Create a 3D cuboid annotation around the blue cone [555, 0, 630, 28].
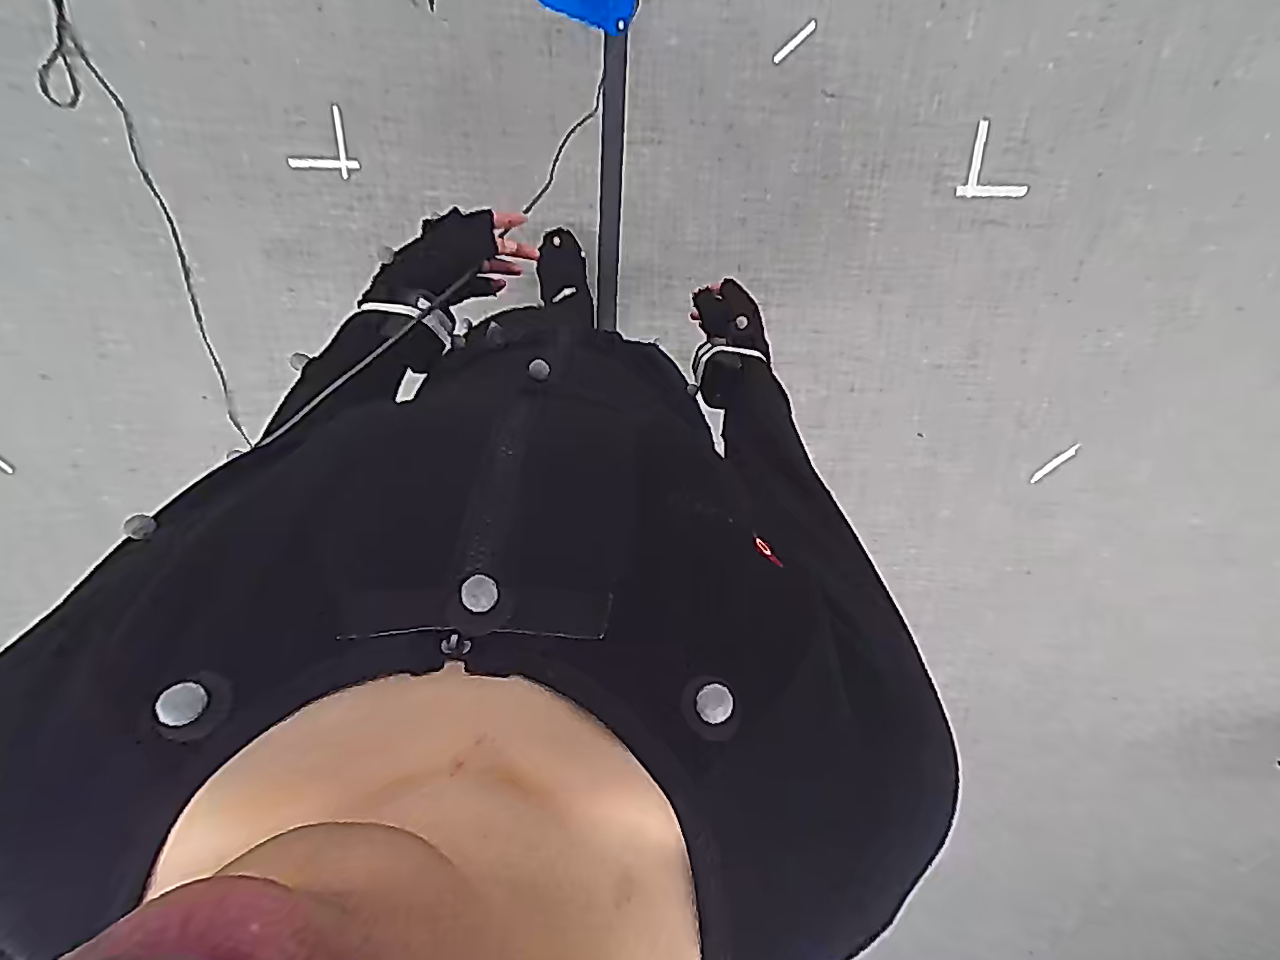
[{"bbox_3d":[-0.079,-0.999,0.951,0.192,0.380,0.193,16,109,-10],"label":"blue cone"}]
